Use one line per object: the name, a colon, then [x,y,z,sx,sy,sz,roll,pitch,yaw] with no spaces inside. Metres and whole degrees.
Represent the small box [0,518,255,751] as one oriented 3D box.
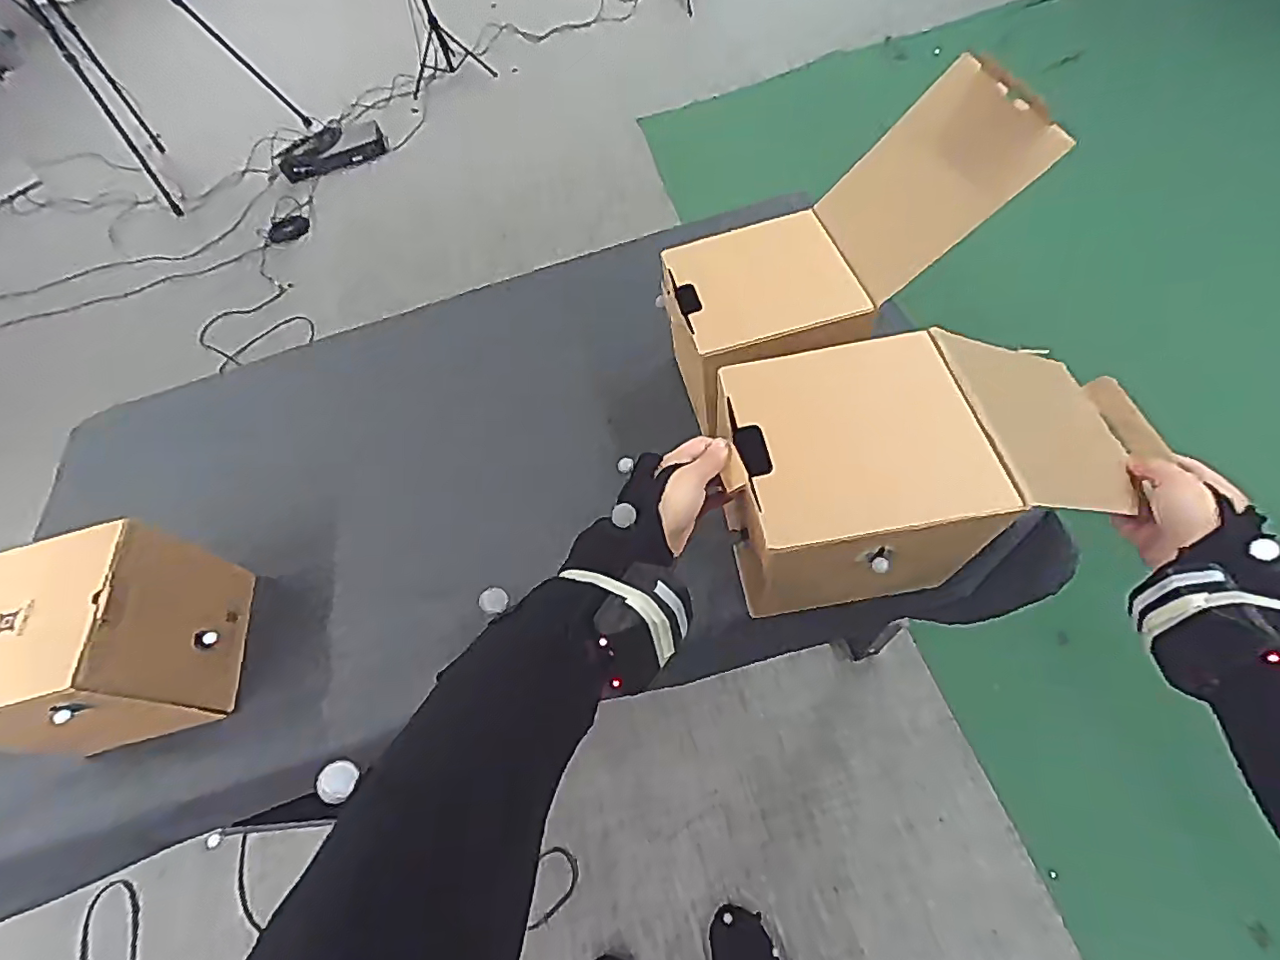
small box: [-0.550,0.167,0.556,0.179,0.176,0.168,-16,58,1]
